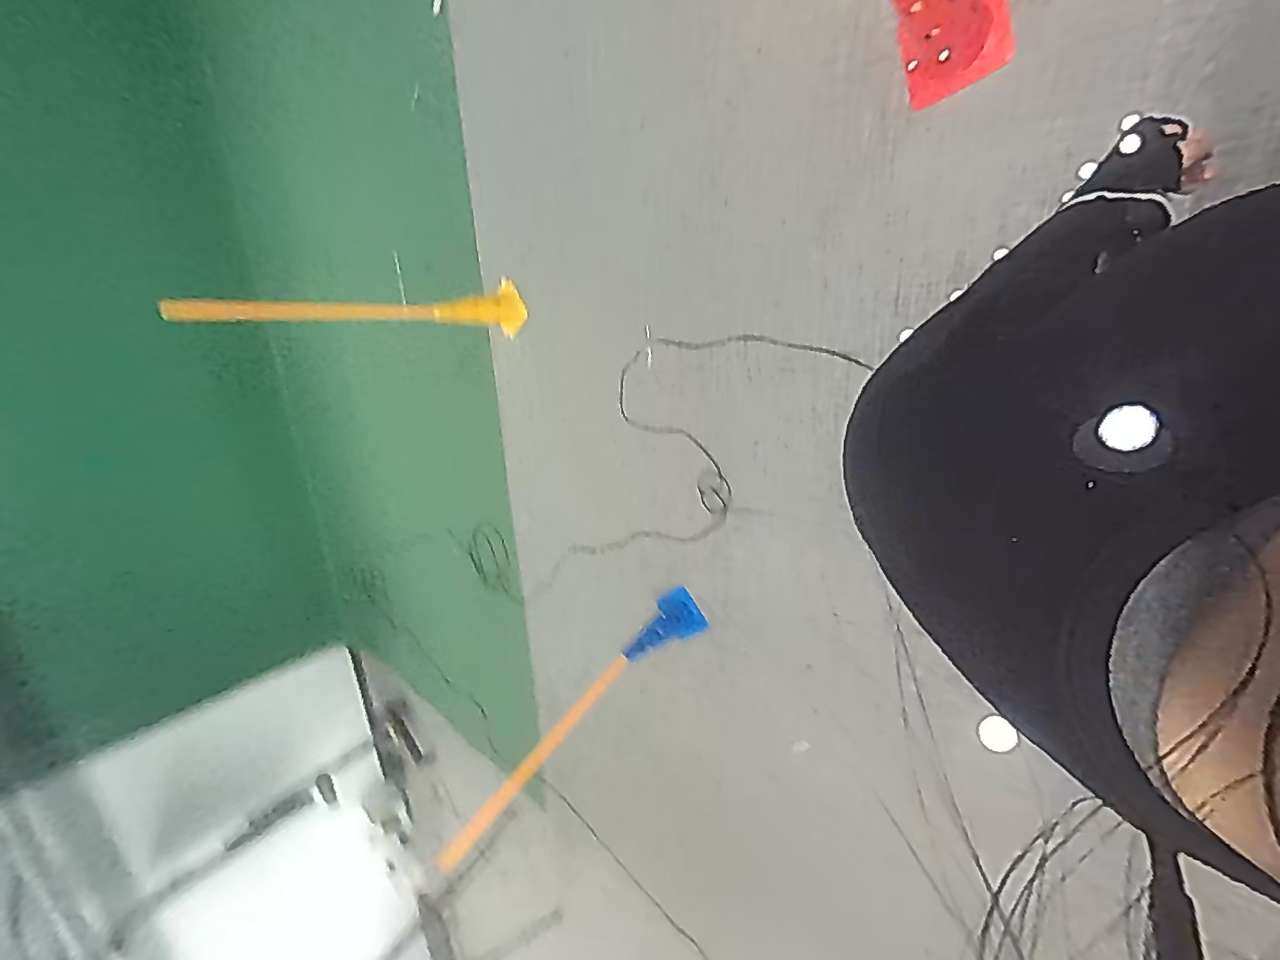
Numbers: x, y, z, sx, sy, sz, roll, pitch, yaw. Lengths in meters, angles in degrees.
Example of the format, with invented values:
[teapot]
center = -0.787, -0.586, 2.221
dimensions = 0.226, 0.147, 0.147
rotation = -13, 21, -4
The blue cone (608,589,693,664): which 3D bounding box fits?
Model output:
[blue cone]
center = 0.017, 0.590, 2.077
dimensions = 0.193, 0.380, 0.192
rotation = 55, 132, 10
